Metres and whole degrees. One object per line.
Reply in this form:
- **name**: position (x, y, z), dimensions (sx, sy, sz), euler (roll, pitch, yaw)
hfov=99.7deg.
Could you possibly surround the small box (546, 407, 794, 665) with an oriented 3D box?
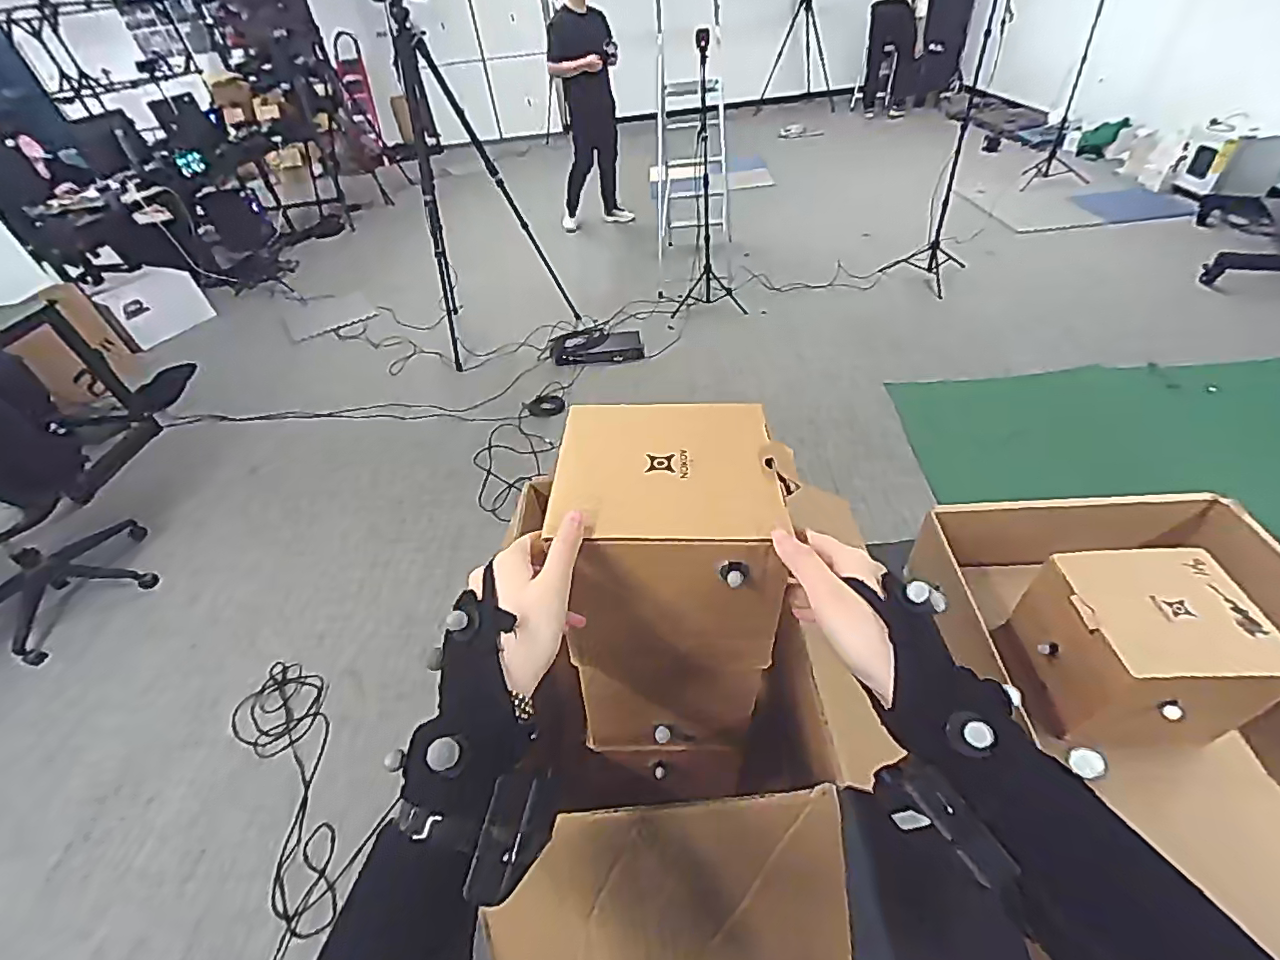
- **small box**: position (0.025, 0.050, 0.484), dimensions (0.179, 0.176, 0.168), euler (1, 42, 2)
